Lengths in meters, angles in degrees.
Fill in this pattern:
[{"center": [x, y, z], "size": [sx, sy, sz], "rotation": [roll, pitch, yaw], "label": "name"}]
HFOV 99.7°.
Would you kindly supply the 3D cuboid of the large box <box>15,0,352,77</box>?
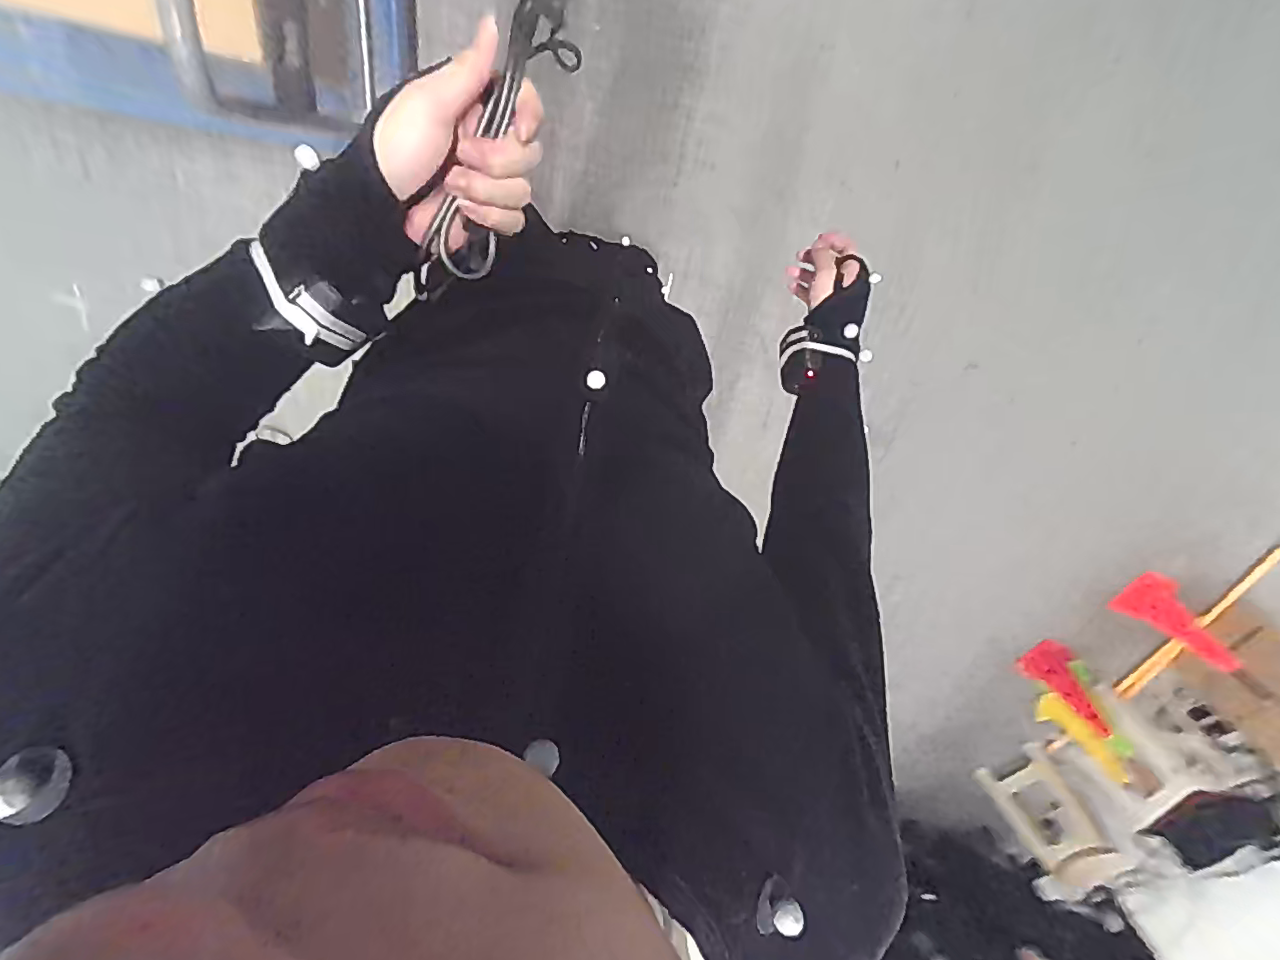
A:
[{"center": [-0.737, -0.887, 0.861], "size": [0.408, 0.320, 0.320], "rotation": [9, 119, -8], "label": "large box"}]
